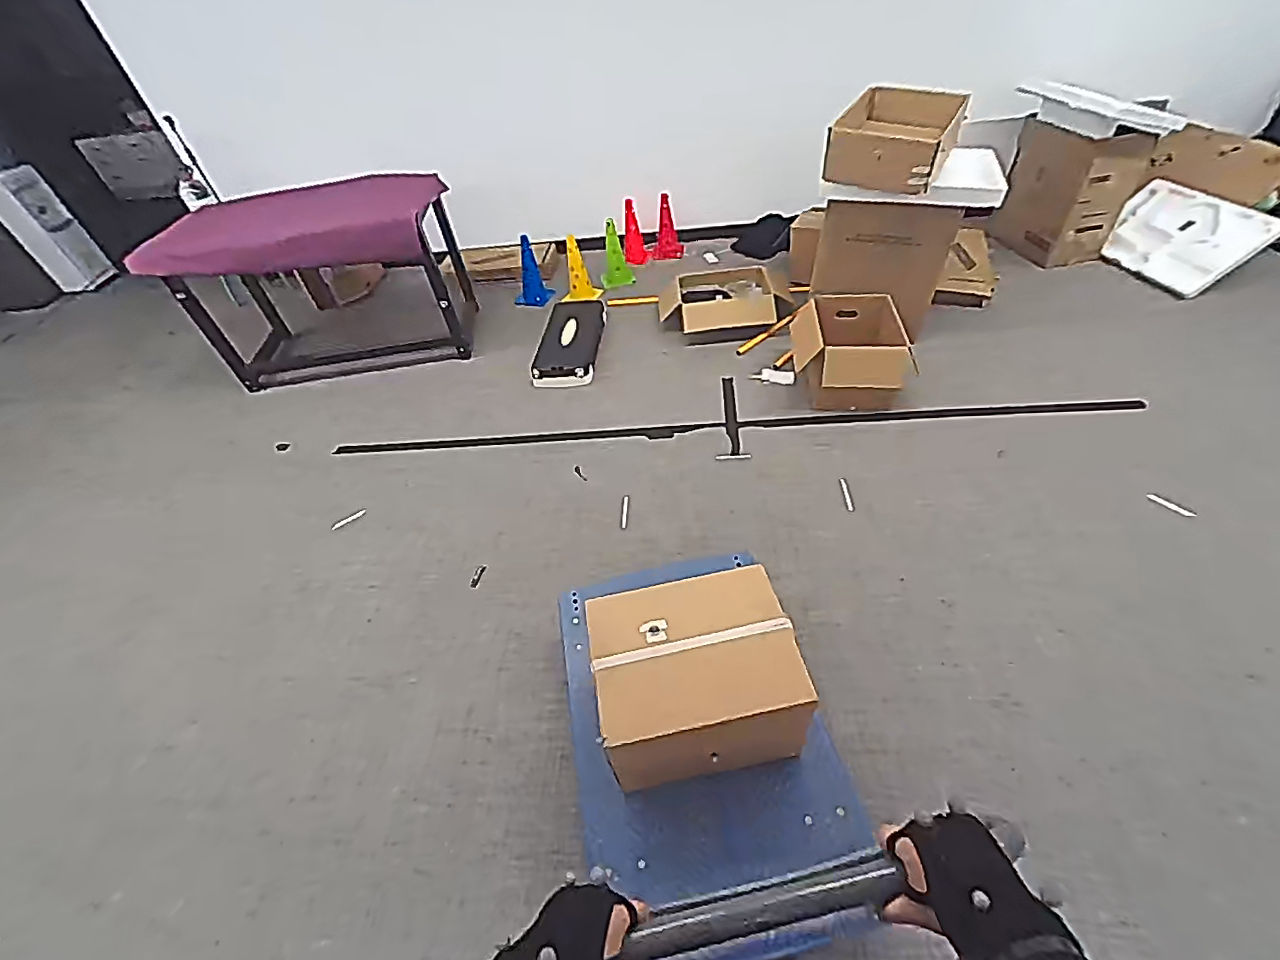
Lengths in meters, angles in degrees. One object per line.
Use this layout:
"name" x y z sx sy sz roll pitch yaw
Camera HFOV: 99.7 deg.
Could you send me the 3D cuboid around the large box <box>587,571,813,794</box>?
"large box" 0.123 0.453 1.207 0.408 0.320 0.320 -12 45 -2
